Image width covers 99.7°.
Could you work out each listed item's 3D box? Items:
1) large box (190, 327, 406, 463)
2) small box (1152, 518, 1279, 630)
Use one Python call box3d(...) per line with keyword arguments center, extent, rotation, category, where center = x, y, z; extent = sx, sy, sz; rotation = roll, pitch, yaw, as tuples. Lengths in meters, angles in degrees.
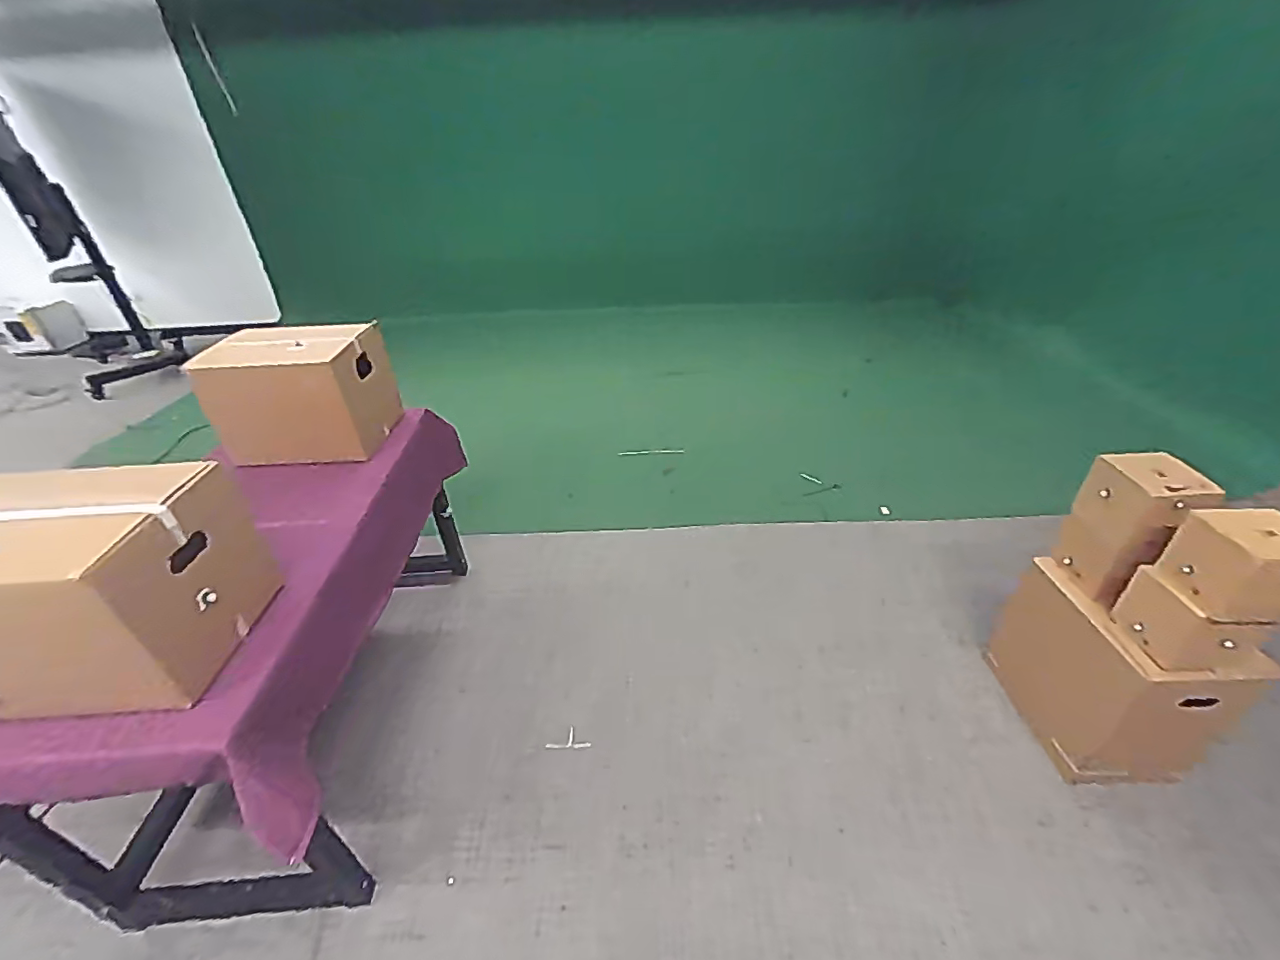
box3d(center=(-0.988, -0.259, 1.623), extent=(0.408, 0.320, 0.320), rotation=(-1, 34, 0), category="large box")
box3d(center=(1.256, 0.198, 1.137), extent=(0.179, 0.176, 0.168), rotation=(0, 32, 3), category="small box")
